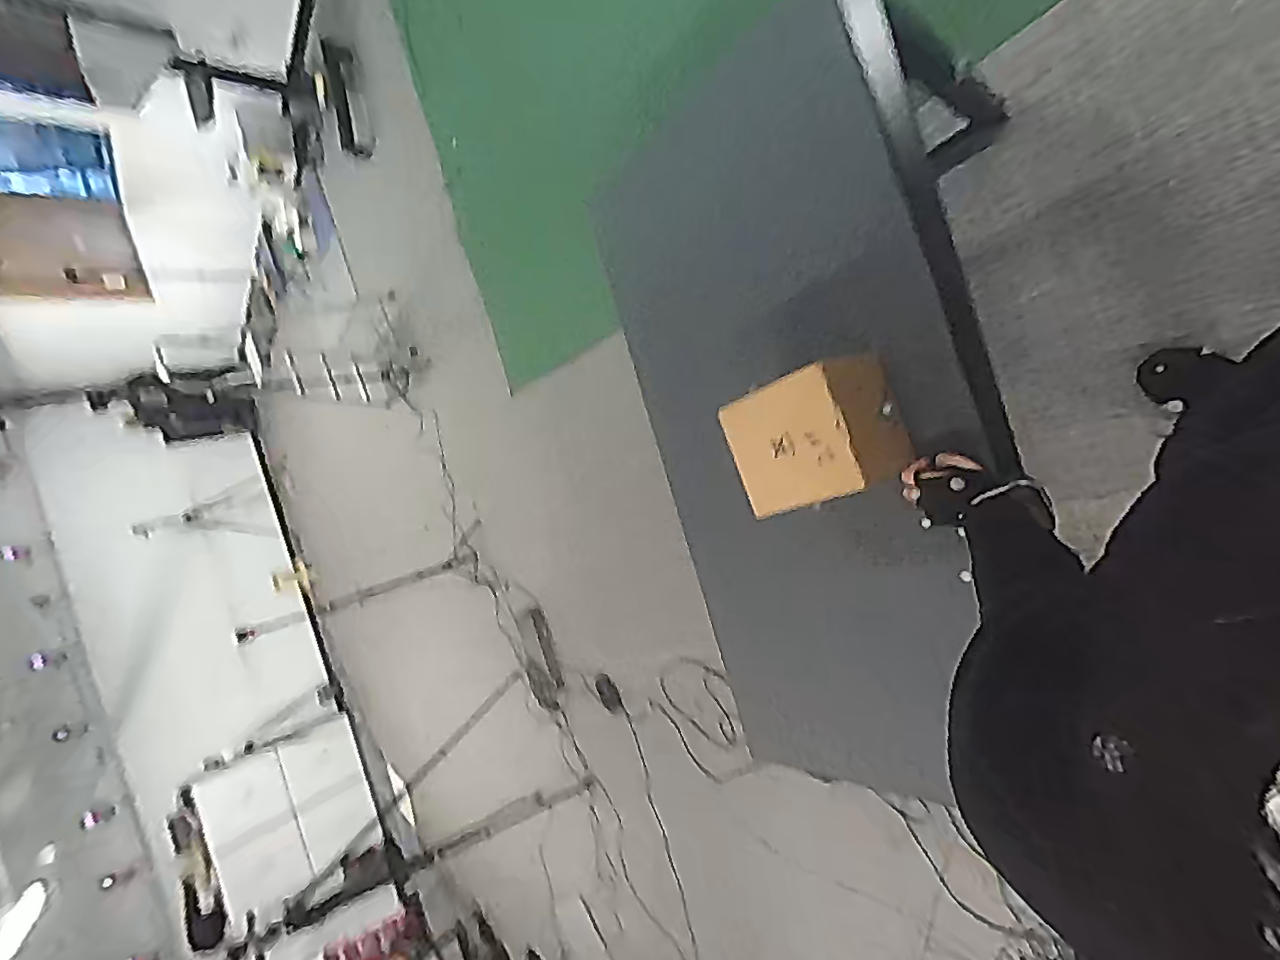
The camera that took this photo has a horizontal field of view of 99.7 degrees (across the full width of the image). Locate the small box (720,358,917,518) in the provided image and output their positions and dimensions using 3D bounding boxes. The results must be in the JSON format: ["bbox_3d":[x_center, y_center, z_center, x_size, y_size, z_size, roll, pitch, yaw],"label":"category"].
[{"bbox_3d":[0.250,-0.059,0.761,0.179,0.176,0.168,-25,84,49],"label":"small box"}]
